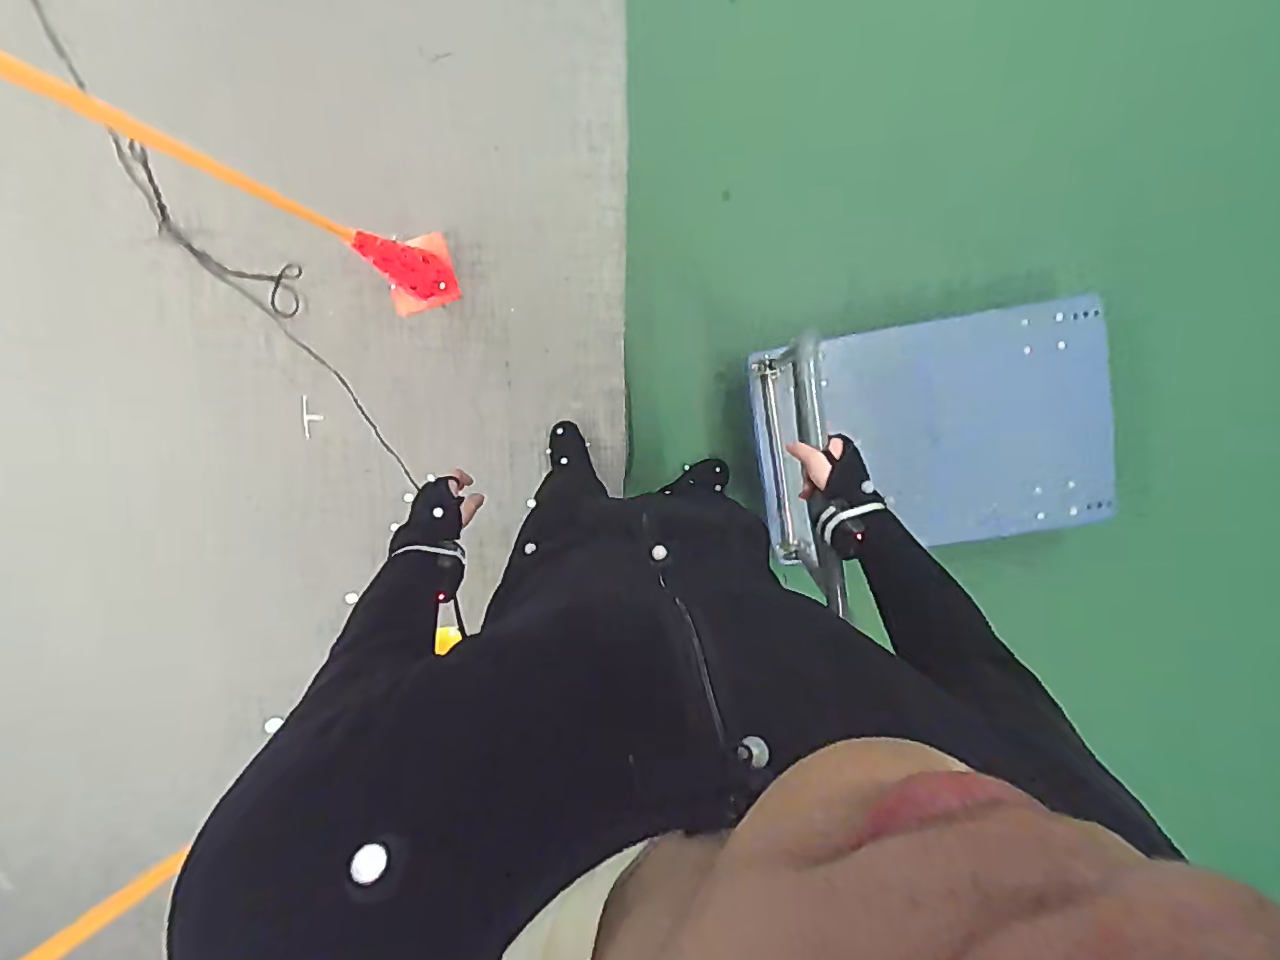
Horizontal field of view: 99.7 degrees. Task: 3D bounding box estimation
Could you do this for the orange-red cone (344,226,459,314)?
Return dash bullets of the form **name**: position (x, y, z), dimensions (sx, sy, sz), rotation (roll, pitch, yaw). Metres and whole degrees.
- **orange-red cone**: position (-0.649, -0.581, 1.404), dimensions (0.198, 0.360, 0.199), rotation (-14, 95, 5)
